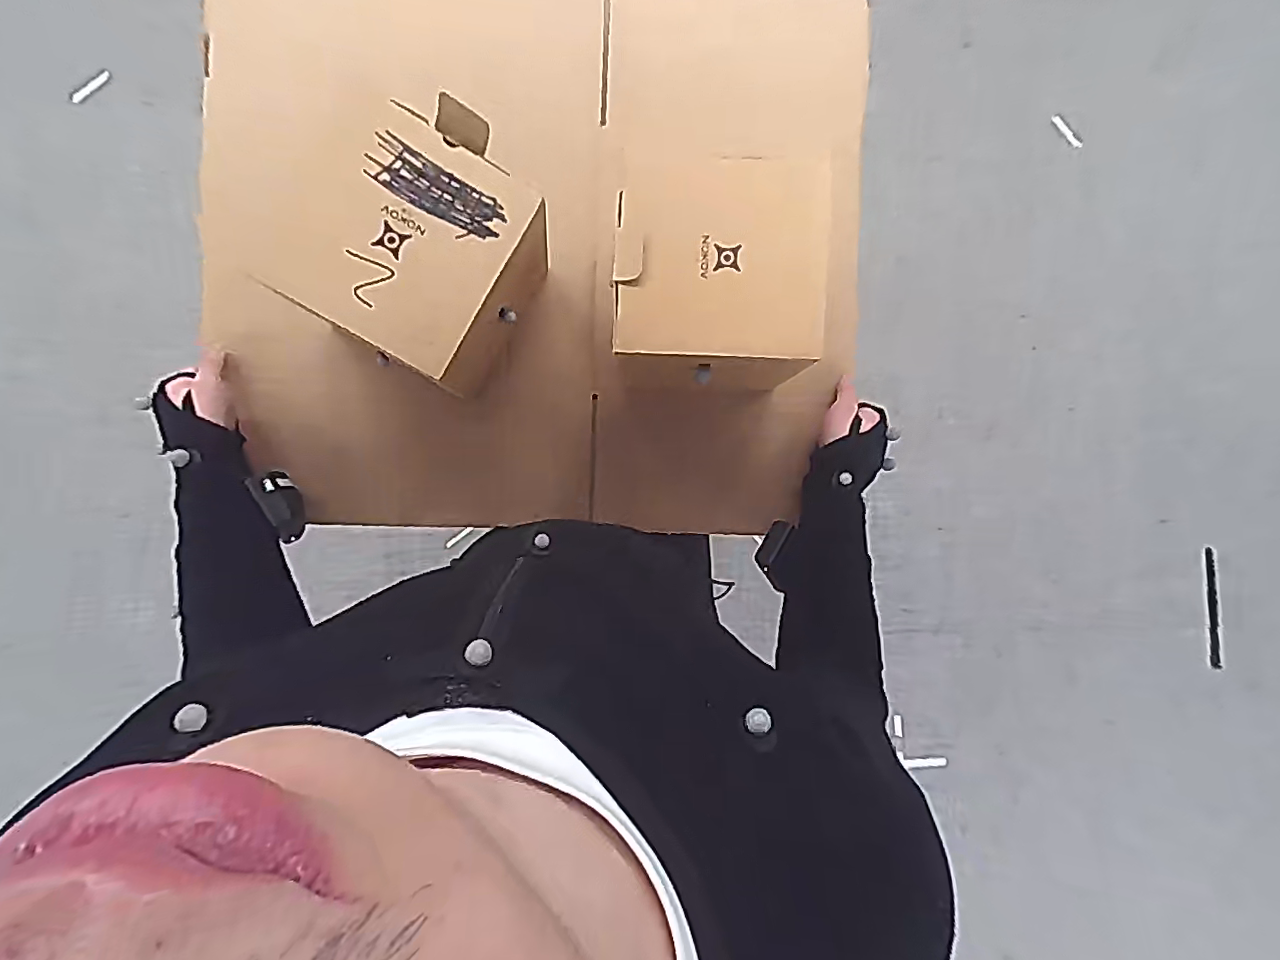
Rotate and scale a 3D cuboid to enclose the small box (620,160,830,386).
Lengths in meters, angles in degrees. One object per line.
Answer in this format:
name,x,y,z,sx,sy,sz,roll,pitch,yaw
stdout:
small box,0.074,-0.190,0.543,0.179,0.176,0.168,2,91,1
